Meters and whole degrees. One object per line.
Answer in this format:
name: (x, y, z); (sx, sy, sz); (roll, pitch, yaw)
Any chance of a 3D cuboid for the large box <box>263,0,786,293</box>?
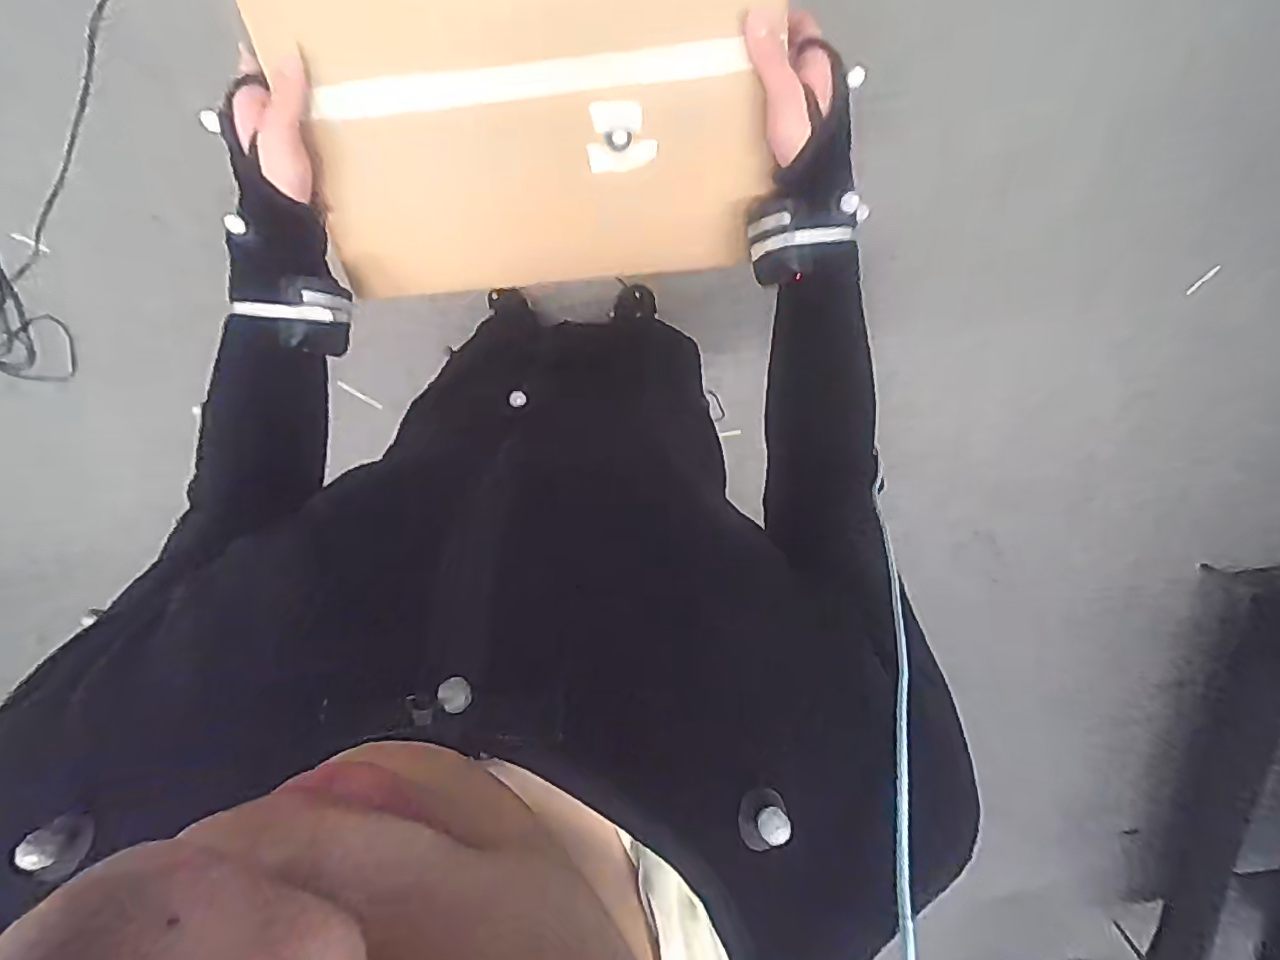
large box: (-0.088, -0.410, 0.560); (0.408, 0.320, 0.320); (-5, 125, 1)
